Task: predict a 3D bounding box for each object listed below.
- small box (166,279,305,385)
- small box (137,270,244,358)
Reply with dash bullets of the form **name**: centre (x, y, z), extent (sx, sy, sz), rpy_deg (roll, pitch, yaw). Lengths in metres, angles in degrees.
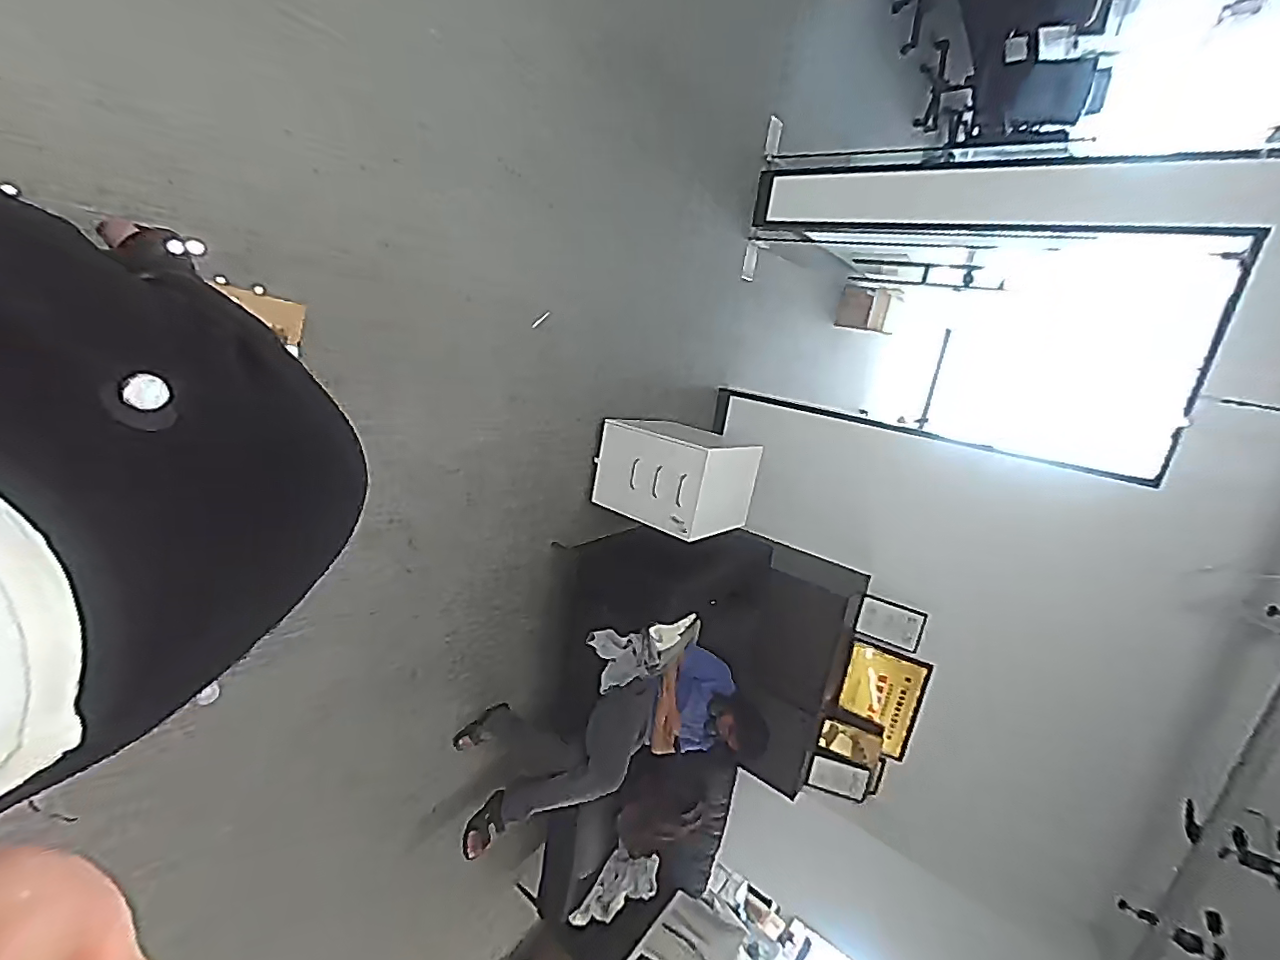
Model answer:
- **small box**: centre (-0.829, -0.304, 1.109), extent (0.179, 0.176, 0.168), rpy_deg (1, 105, -55)
- **small box**: centre (-0.964, -0.353, 1.192), extent (0.179, 0.176, 0.168), rpy_deg (-1, 108, -55)
